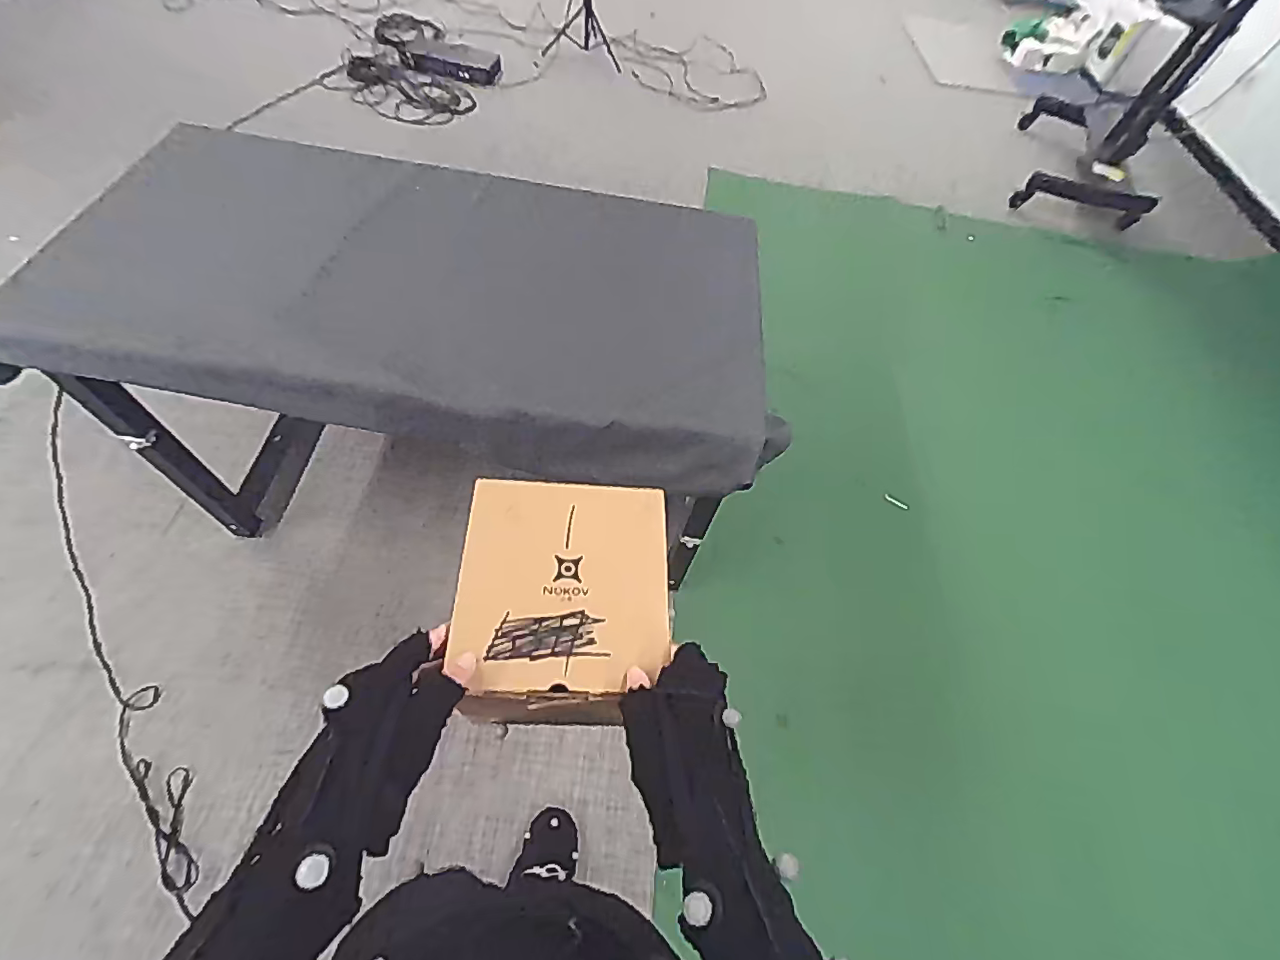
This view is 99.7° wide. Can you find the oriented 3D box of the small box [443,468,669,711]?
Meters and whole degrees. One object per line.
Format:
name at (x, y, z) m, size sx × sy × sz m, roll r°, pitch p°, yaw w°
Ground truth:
small box at (-0.067, 0.110, 0.497) m, size 0.168 × 0.176 × 0.179 m, roll 4°, pitch 59°, yaw -7°
